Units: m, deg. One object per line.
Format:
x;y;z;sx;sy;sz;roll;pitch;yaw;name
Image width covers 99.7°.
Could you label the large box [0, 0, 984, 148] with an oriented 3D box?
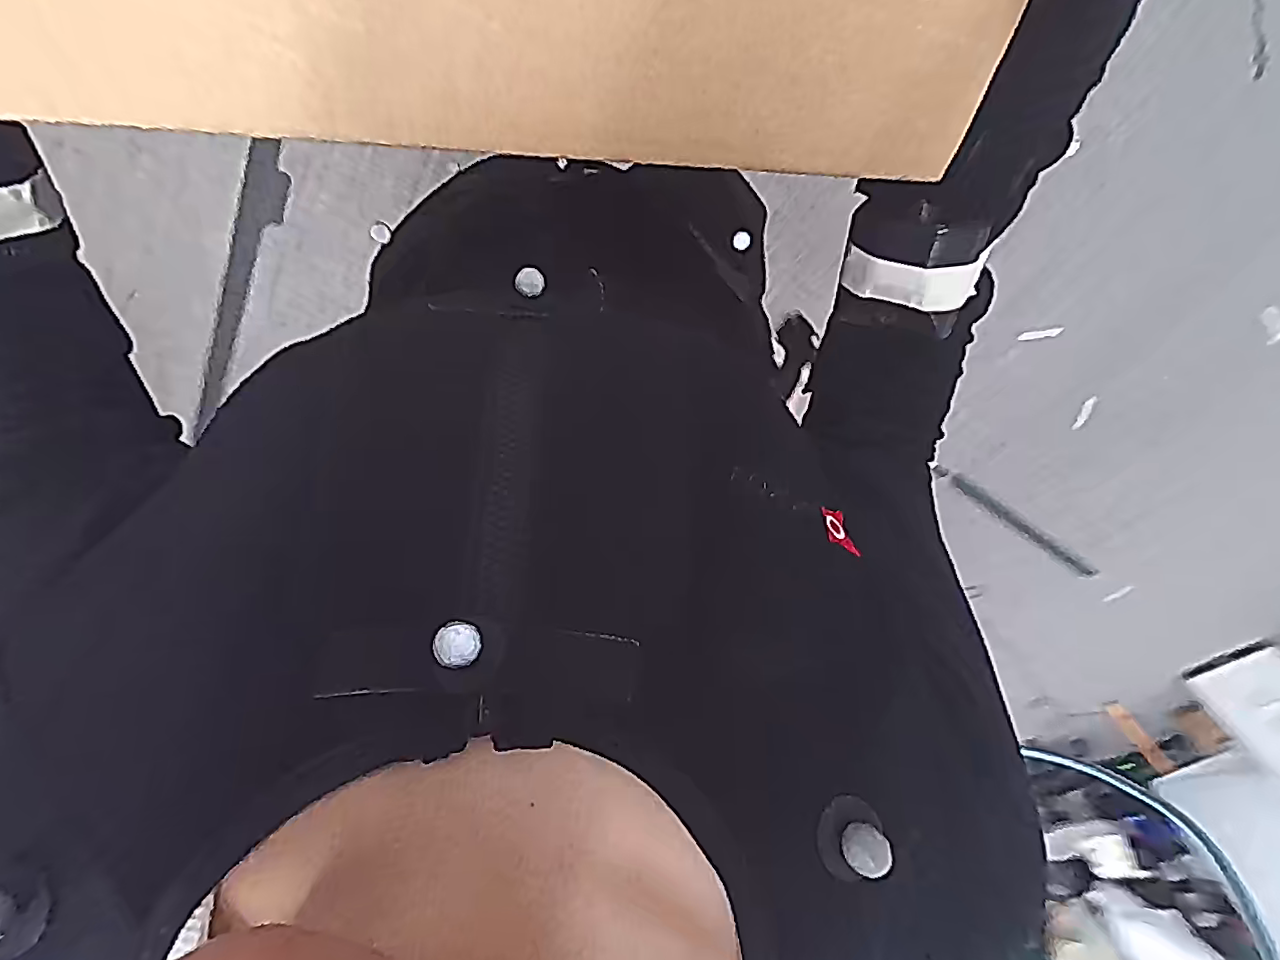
-0.075;-0.350;0.189;0.408;0.320;0.320;-1;140;-5;large box
